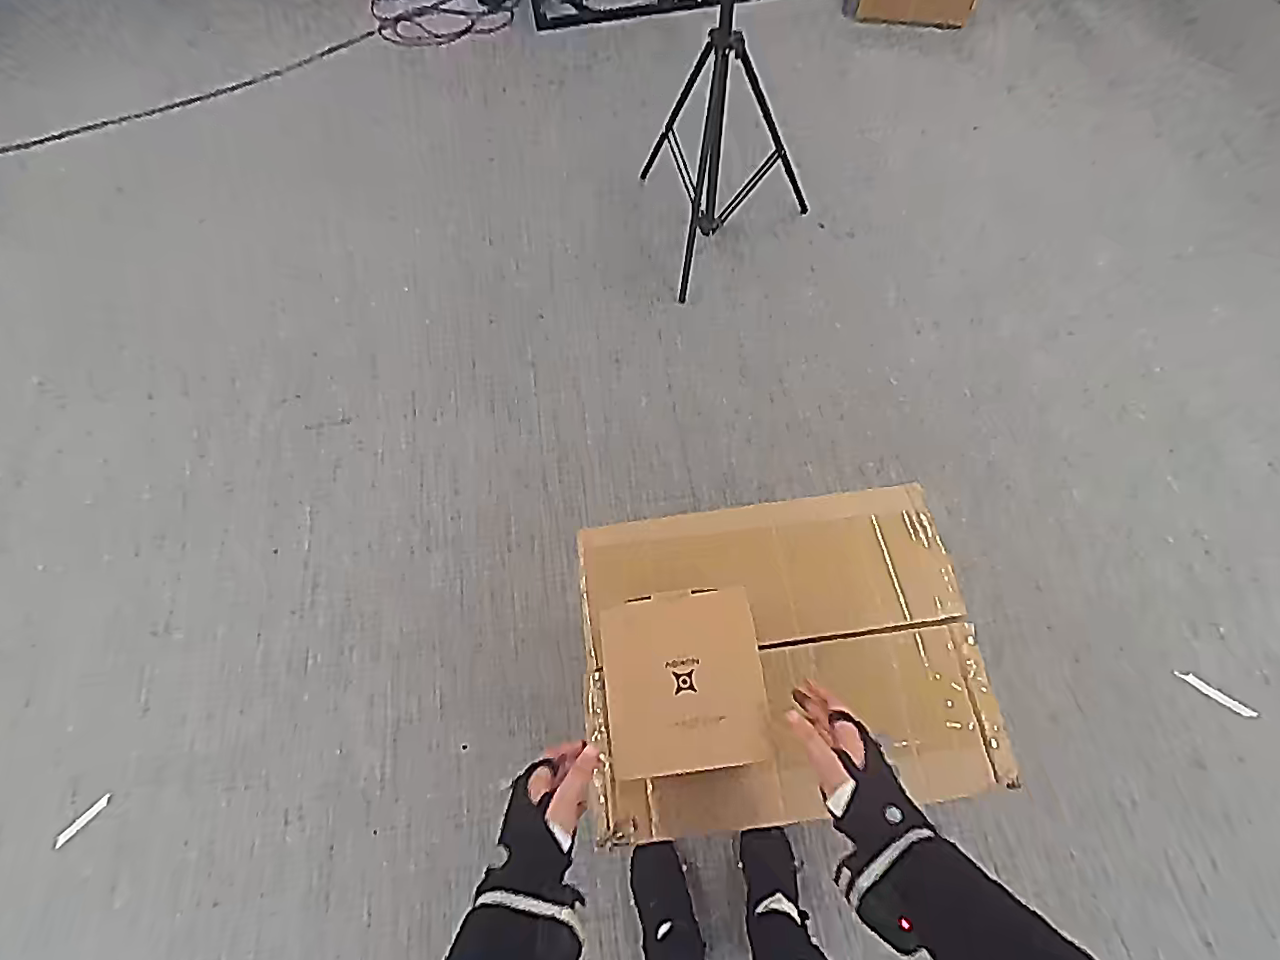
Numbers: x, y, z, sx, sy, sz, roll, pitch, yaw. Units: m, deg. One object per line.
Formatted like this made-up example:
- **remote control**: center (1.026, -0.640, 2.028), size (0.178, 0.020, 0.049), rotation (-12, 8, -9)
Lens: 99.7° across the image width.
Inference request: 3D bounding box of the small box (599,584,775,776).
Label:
- **small box**: center (0.047, 0.233, 0.643), size (0.168, 0.176, 0.179), rotation (-8, 70, 0)
